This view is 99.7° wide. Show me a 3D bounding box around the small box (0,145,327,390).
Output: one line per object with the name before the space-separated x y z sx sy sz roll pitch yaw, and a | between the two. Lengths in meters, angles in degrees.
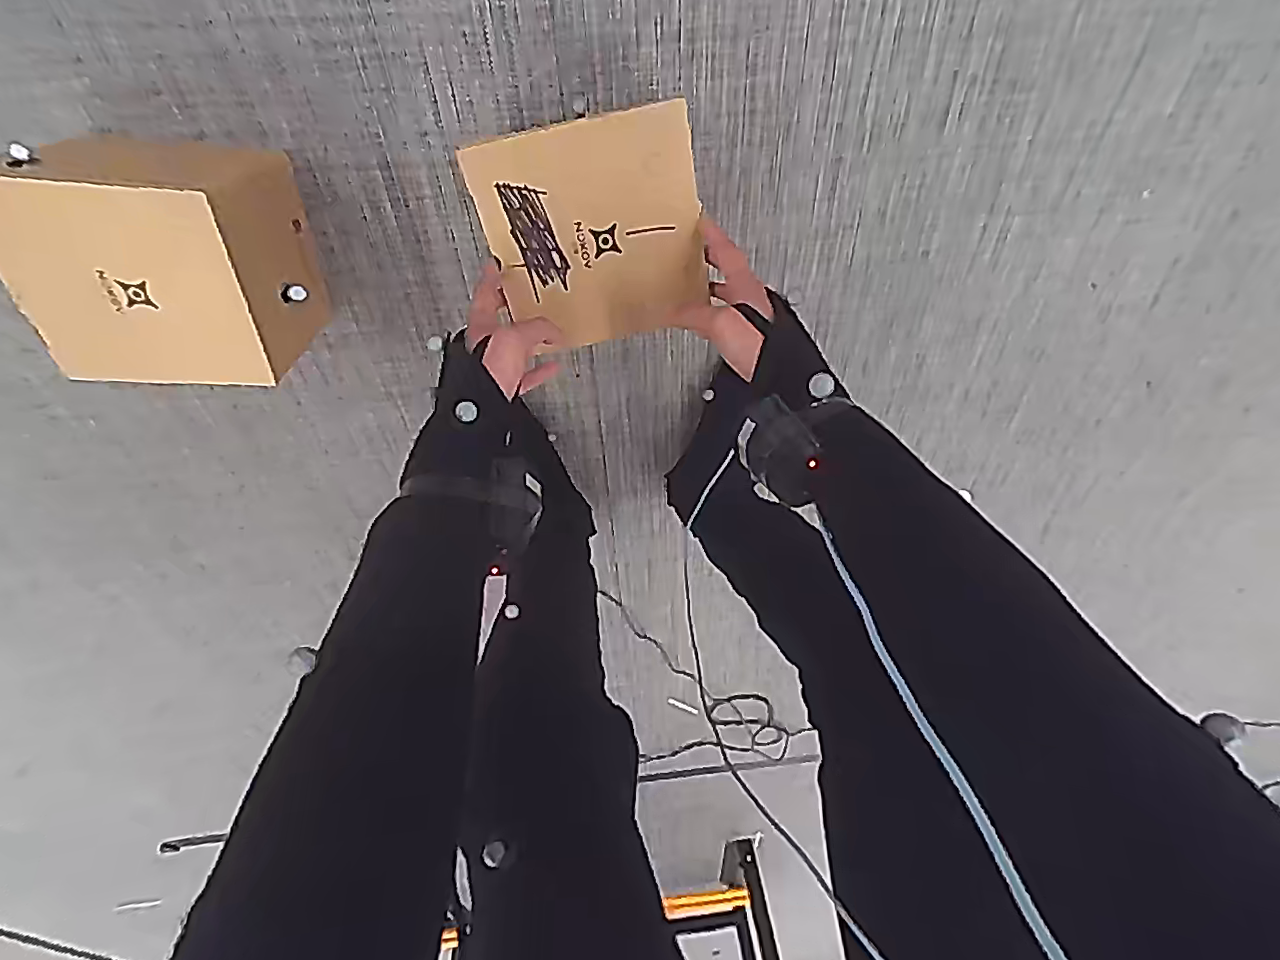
small box | -0.417 -0.198 0.502 0.179 0.176 0.168 1 130 -8

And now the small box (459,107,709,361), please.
small box | -0.042 -0.231 0.506 0.179 0.176 0.168 -11 123 2
